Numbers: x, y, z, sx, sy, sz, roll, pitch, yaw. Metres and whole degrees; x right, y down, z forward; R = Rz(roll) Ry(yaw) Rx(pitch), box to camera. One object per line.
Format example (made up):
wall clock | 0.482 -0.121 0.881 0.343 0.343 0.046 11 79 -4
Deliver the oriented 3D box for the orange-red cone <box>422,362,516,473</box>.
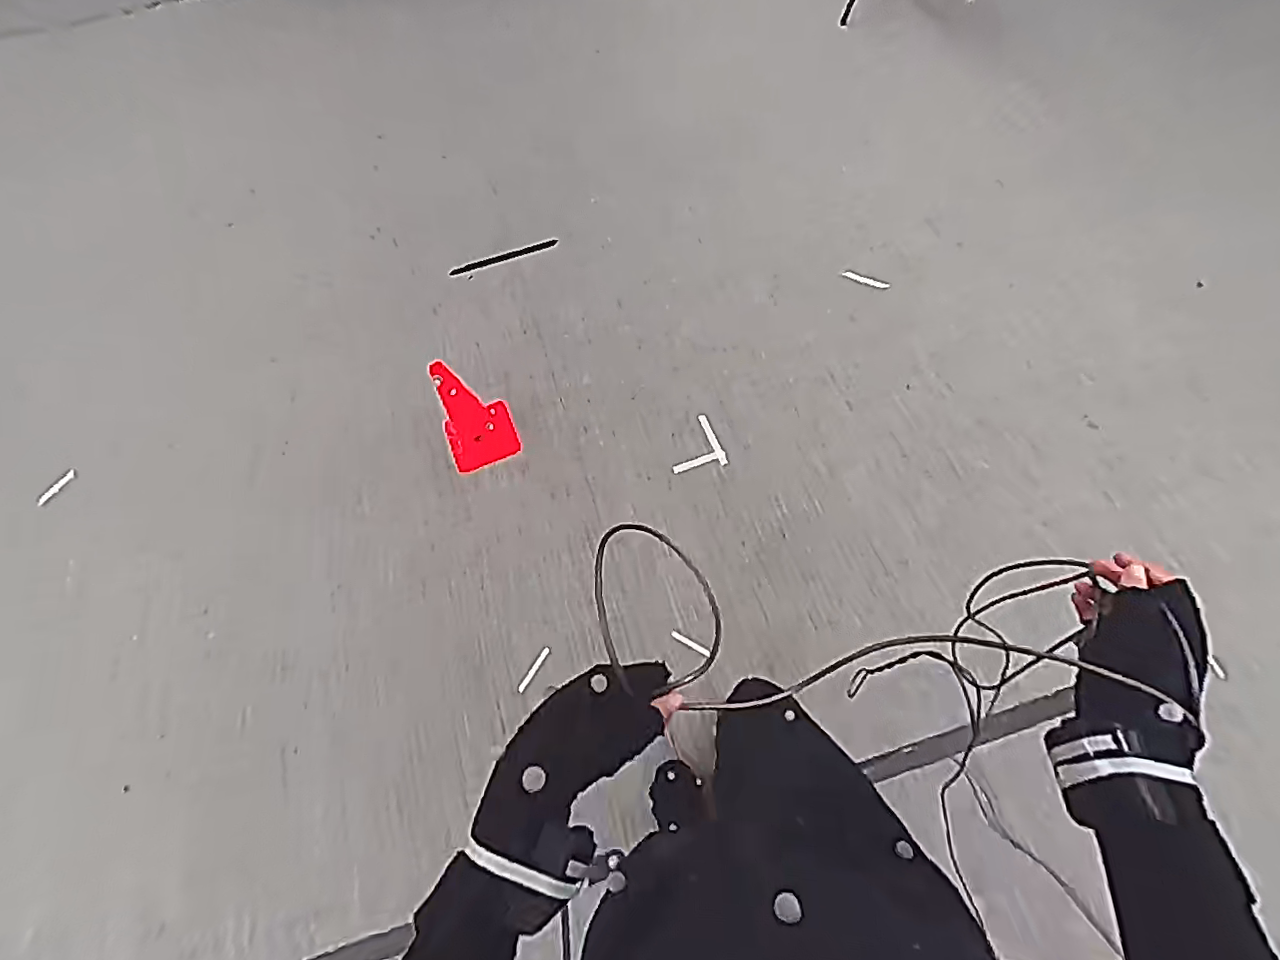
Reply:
orange-red cone | -0.494 -0.196 1.456 0.199 0.360 0.198 -23 66 -5
